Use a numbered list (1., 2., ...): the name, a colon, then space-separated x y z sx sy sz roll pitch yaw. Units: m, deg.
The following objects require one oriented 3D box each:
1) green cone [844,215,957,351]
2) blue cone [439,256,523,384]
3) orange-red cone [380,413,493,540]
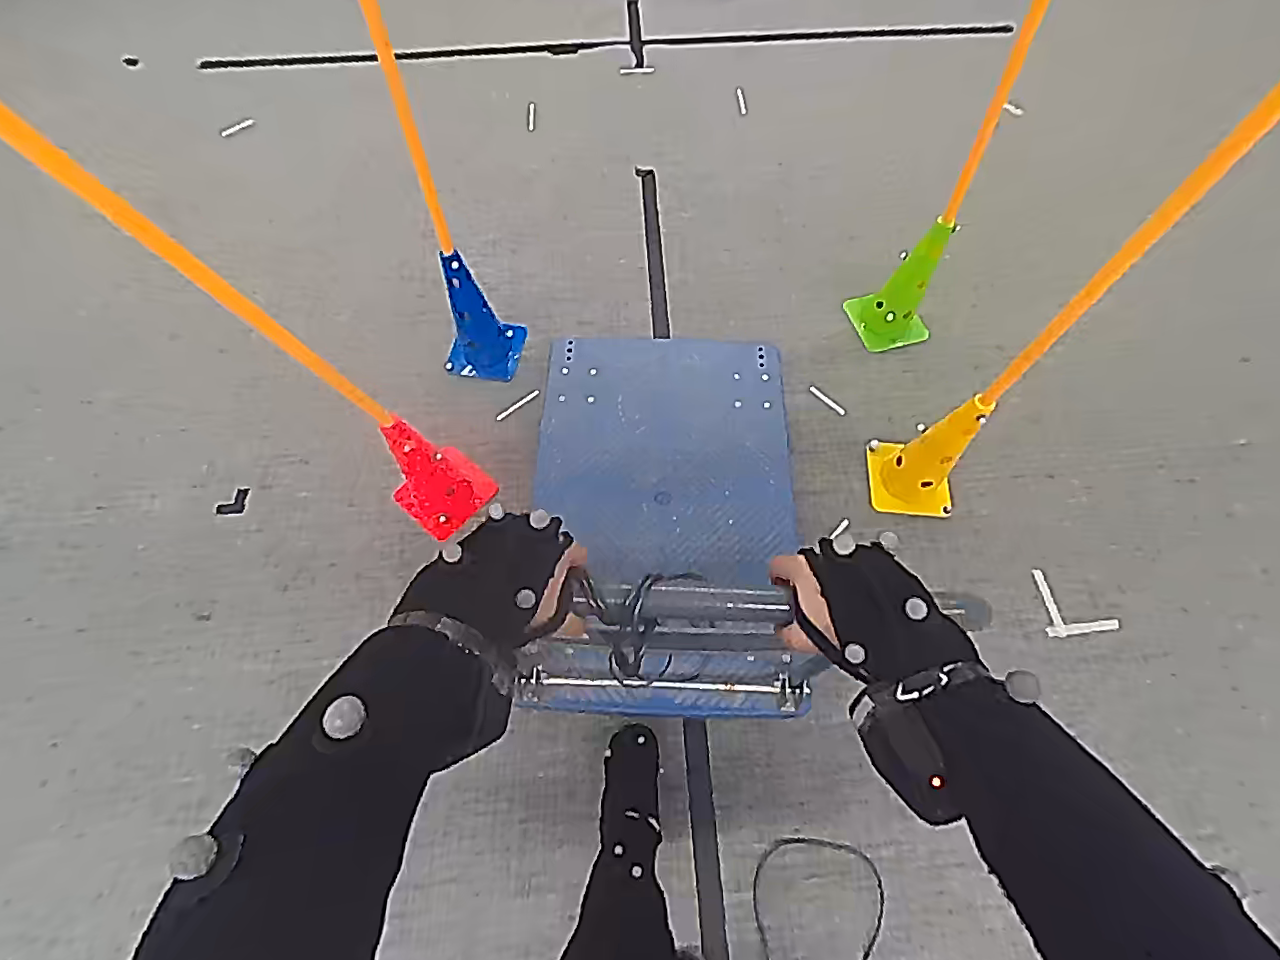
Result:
1. green cone: 0.731 -0.549 1.453 0.200 0.368 0.202 -16 67 -7
2. blue cone: -0.444 -0.434 1.414 0.193 0.380 0.192 10 66 5
3. orange-red cone: -0.495 -0.042 1.213 0.198 0.360 0.199 39 69 16
